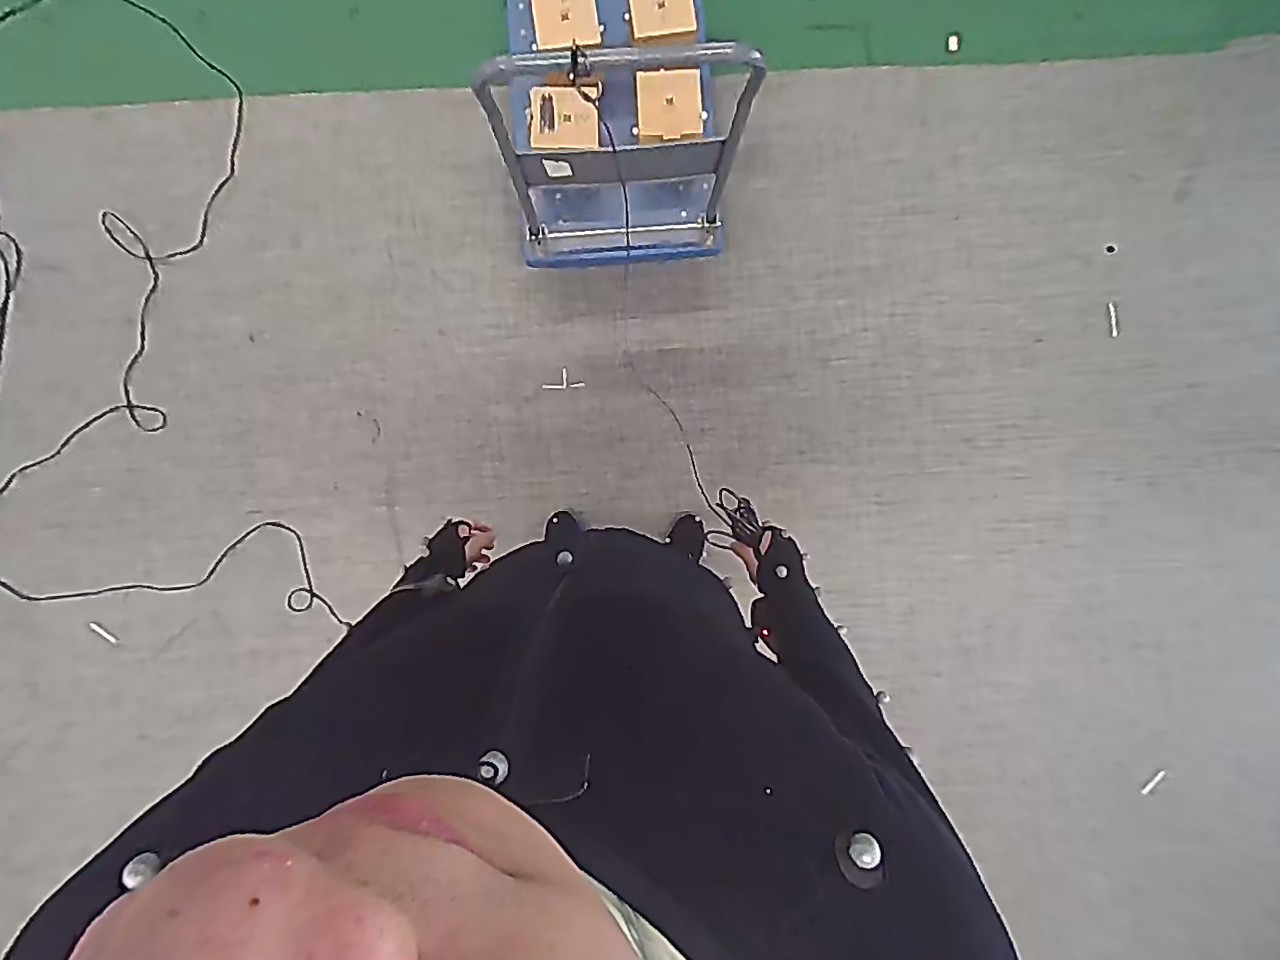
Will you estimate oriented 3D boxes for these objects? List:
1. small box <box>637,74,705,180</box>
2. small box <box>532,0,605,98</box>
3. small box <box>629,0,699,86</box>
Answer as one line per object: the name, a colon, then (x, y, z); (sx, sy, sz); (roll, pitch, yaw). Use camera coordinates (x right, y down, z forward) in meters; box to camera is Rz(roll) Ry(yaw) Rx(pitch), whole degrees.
small box: (0.079, -0.943, 1.455); (0.168, 0.176, 0.179); (-3, 87, 0)
small box: (-0.190, -1.176, 1.468); (0.168, 0.176, 0.179); (-8, 86, -1)
small box: (0.059, -1.212, 1.471); (0.168, 0.176, 0.179); (-8, 87, 0)
